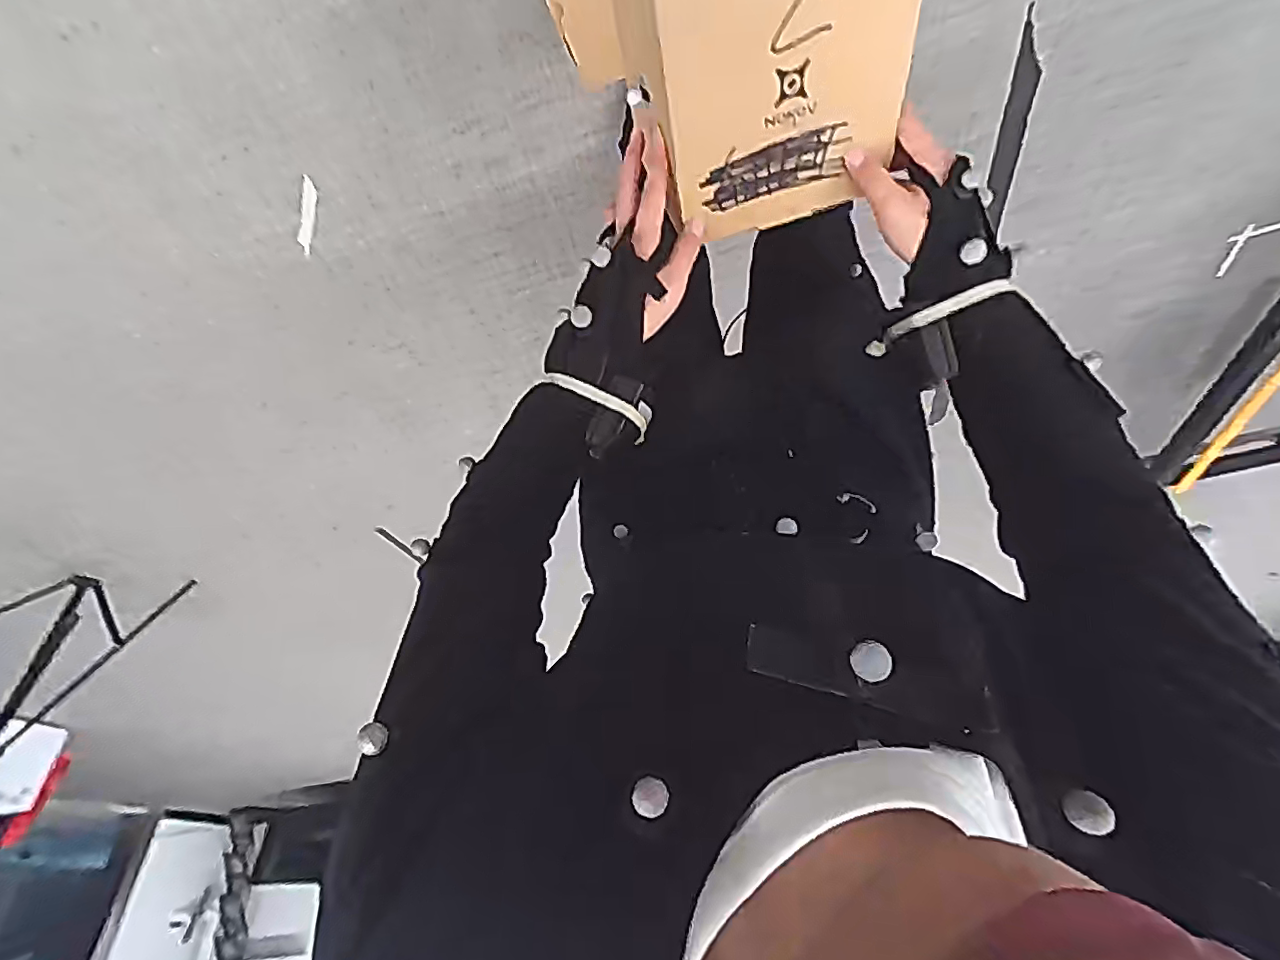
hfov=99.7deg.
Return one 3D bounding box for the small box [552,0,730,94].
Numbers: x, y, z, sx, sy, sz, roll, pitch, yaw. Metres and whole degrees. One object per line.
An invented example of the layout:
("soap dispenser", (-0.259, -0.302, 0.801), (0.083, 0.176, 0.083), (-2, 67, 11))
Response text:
("small box", (-0.014, -0.583, 0.601), (0.179, 0.176, 0.168), (-16, 142, 15))
